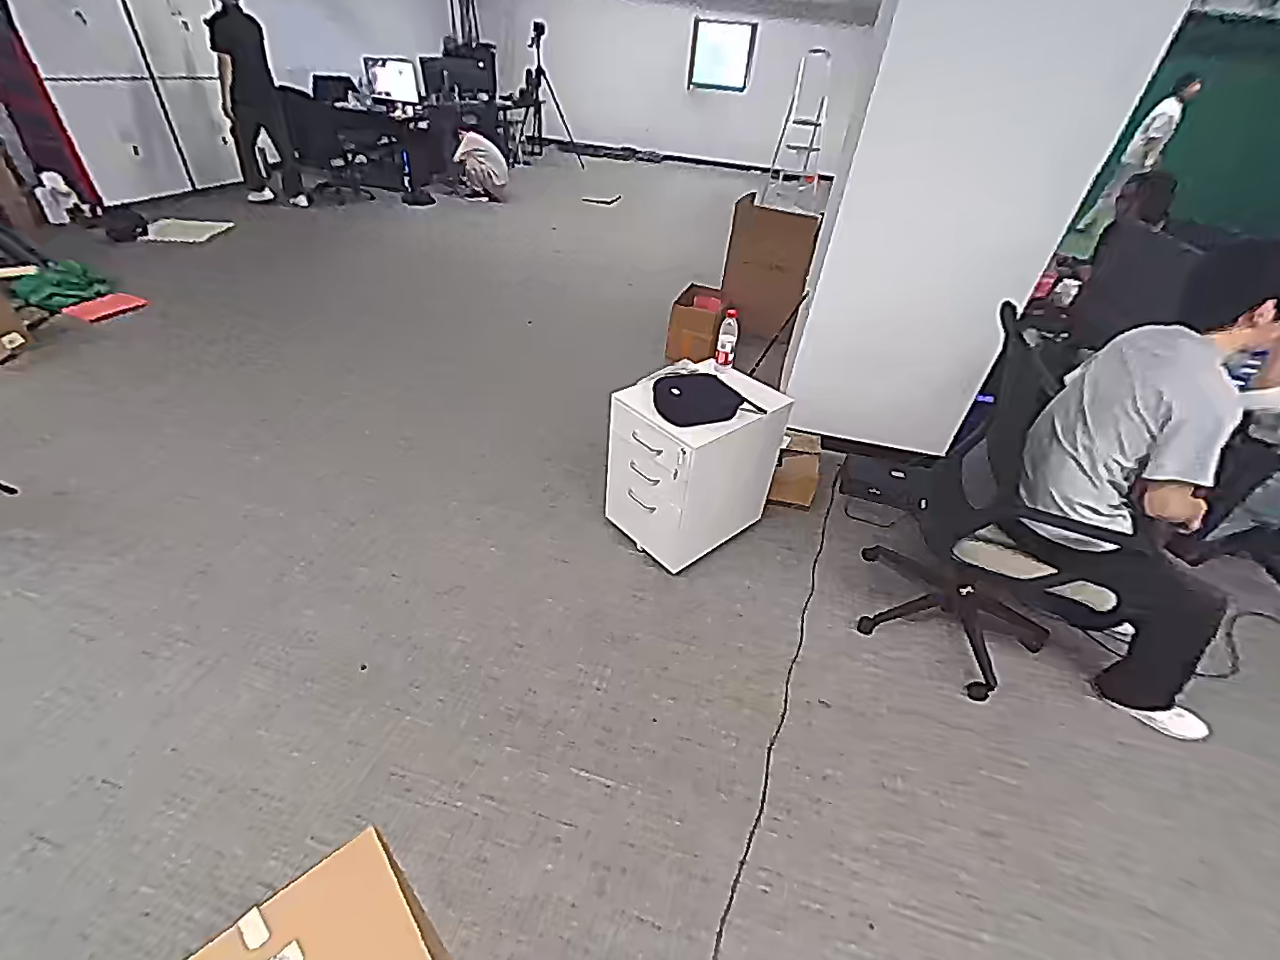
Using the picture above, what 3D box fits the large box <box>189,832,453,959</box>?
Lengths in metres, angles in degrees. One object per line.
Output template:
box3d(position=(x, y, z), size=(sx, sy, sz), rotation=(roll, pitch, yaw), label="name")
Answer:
box3d(position=(-0.375, 0.763, 0.679), size=(0.320, 0.408, 0.320), rotation=(-28, 36, -33), label="large box")
